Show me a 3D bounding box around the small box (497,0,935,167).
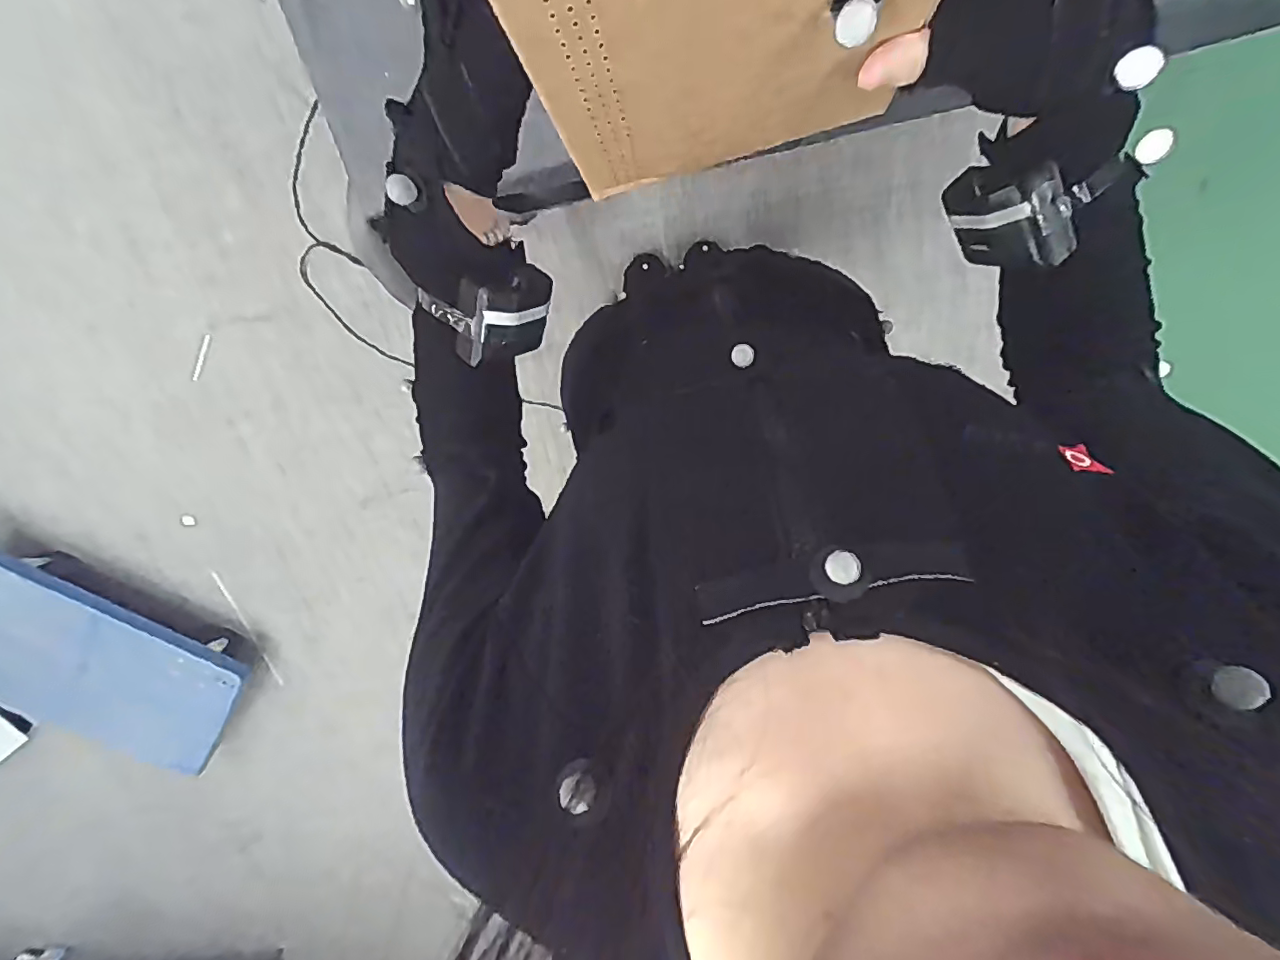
[{"bbox_3d":[0.021,-0.257,0.216,0.176,0.179,0.168,-12,92,10],"label":"small box"}]
